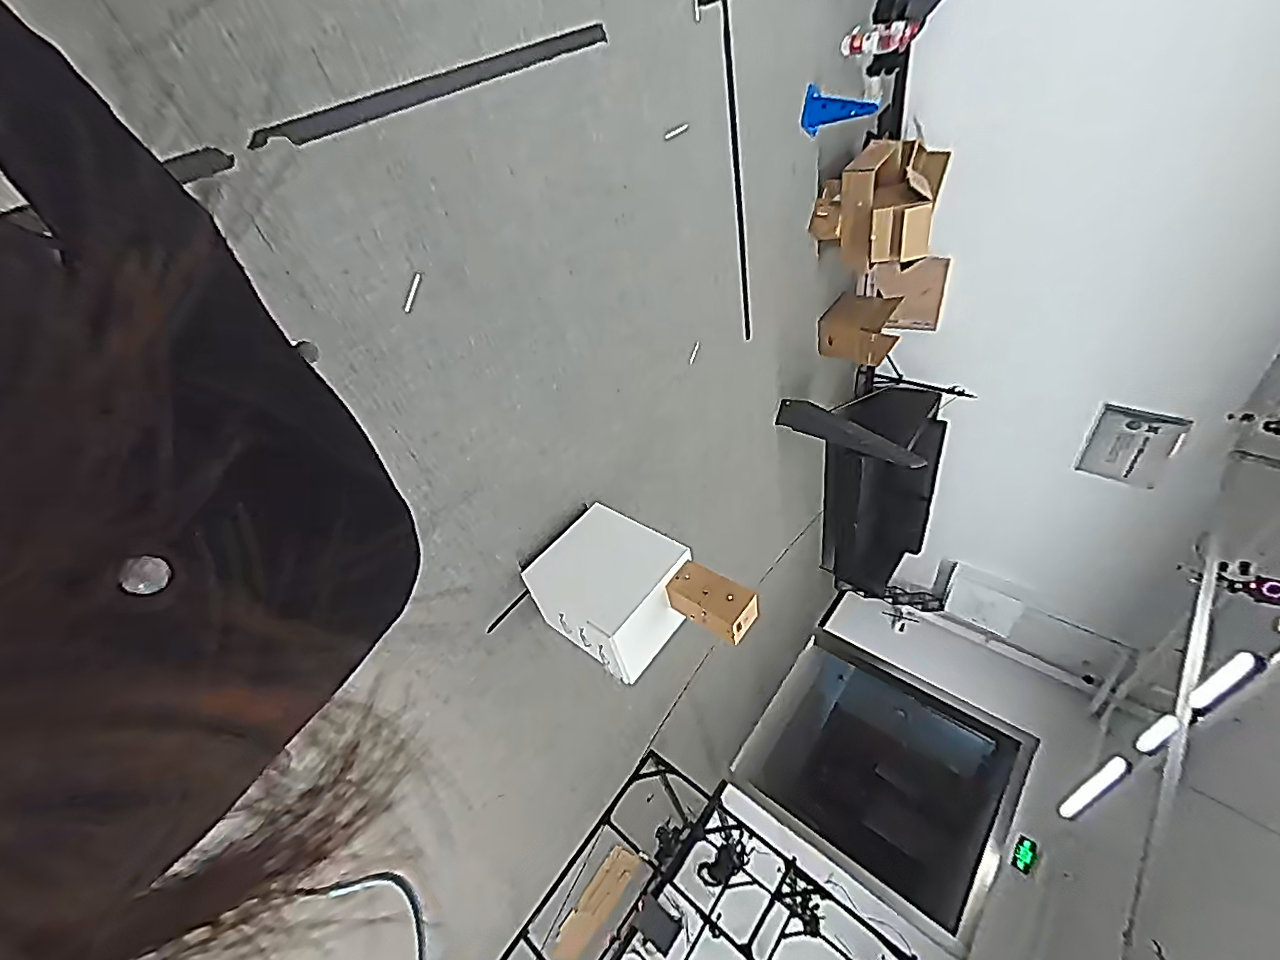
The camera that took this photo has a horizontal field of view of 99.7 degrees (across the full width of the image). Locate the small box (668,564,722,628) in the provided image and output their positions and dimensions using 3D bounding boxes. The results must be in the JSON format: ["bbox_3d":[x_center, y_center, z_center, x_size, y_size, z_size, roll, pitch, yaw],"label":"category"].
[{"bbox_3d":[0.238,0.485,2.285,0.168,0.176,0.179,-44,141,-28],"label":"small box"}]

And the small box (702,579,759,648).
[{"bbox_3d":[0.361,0.537,2.189,0.179,0.176,0.168,-44,141,-28],"label":"small box"}]
